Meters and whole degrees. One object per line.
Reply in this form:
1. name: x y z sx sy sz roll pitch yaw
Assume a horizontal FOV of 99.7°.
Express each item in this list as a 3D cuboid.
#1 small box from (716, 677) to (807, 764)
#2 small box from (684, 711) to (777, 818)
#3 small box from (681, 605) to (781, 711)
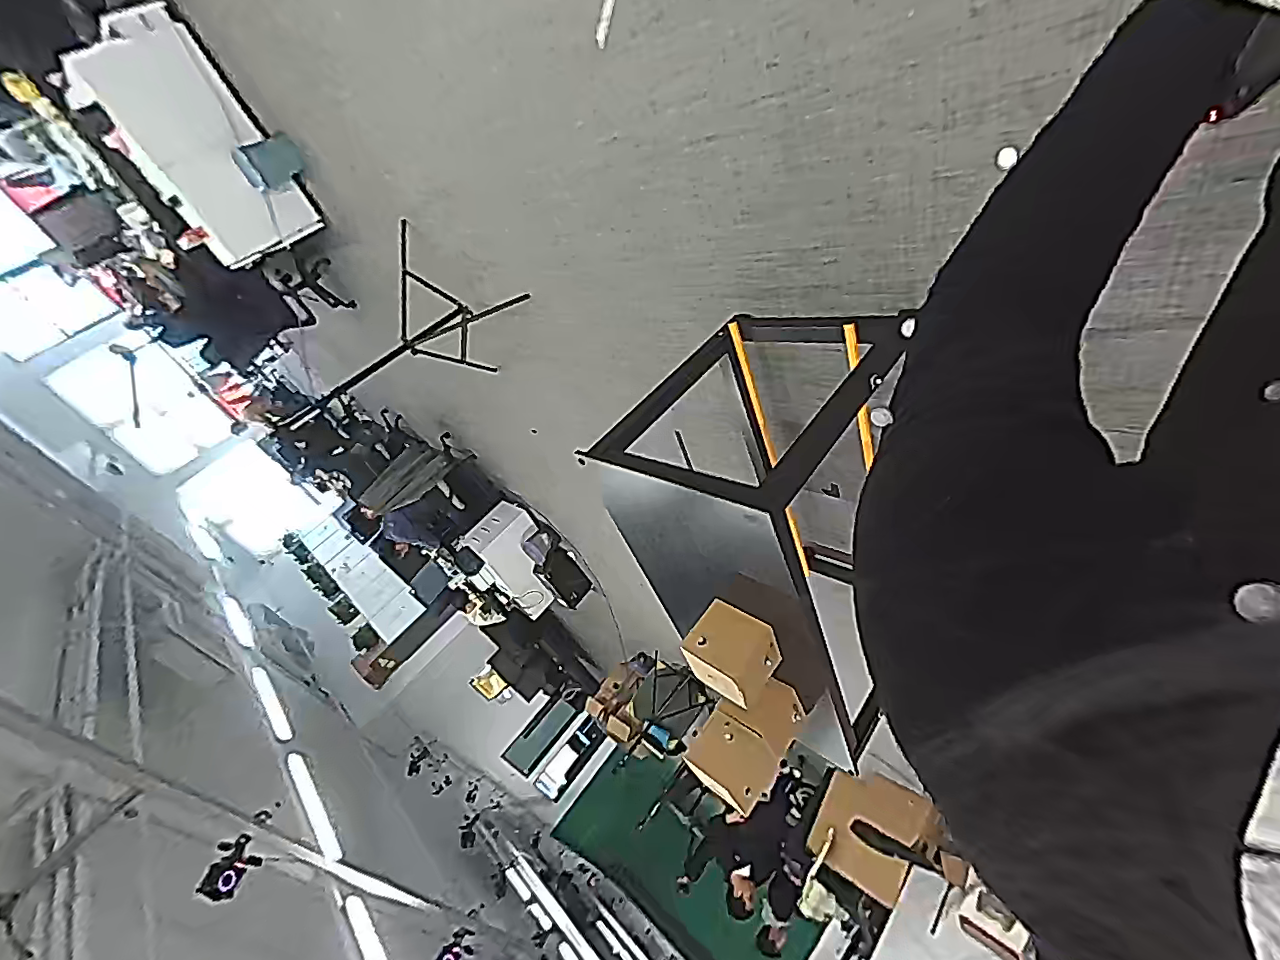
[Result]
1. small box: 0.362 0.686 1.593 0.179 0.176 0.168 13 143 47
2. small box: 0.261 0.796 1.524 0.168 0.176 0.179 14 142 48
3. small box: 0.239 0.452 1.405 0.179 0.176 0.168 21 147 41
